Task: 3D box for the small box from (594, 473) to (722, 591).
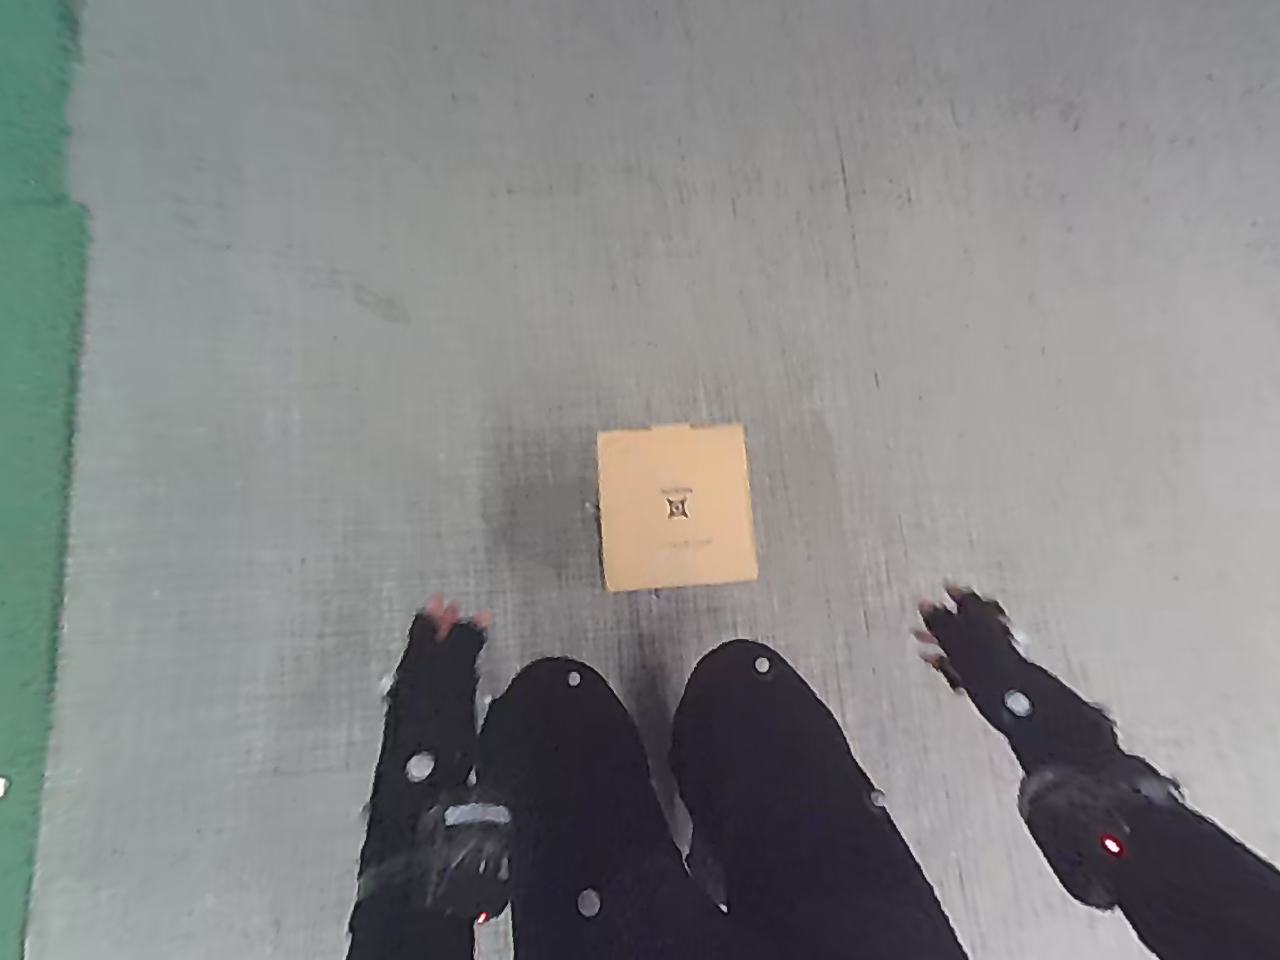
[{"bbox_3d":[0.020,0.087,0.845,0.179,0.176,0.168,-3,80,-6],"label":"small box"}]
